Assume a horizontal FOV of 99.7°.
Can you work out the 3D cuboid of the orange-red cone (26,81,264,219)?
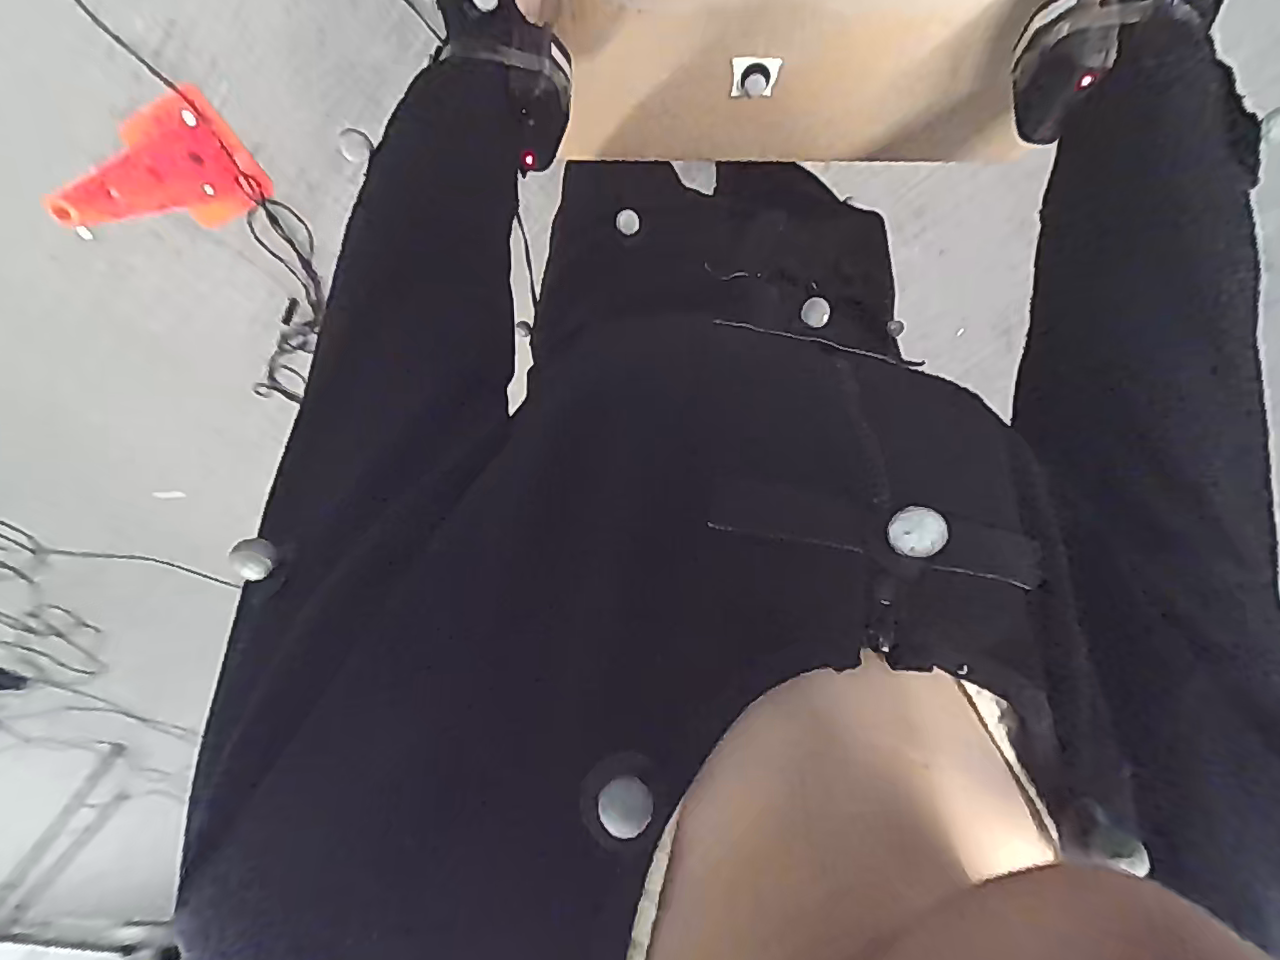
[{"bbox_3d":[-0.872,-0.523,0.923,0.199,0.360,0.198,-15,128,14],"label":"orange-red cone"}]
